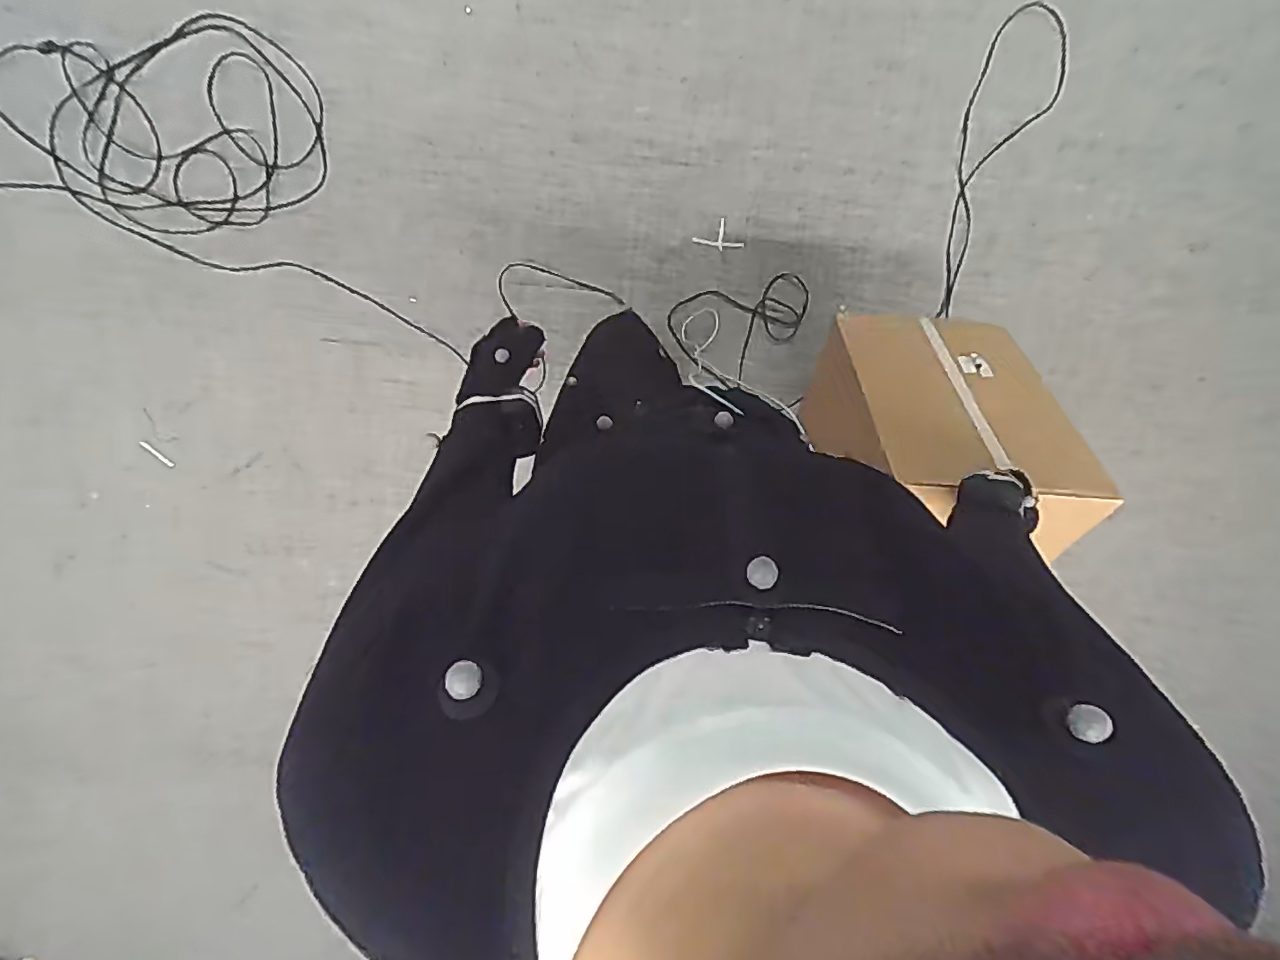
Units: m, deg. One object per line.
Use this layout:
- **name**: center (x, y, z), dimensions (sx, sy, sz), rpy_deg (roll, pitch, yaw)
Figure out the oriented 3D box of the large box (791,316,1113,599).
- **large box**: center (0.486, -0.039, 0.963), dimensions (0.320, 0.408, 0.320), rpy_deg (4, 140, -2)
